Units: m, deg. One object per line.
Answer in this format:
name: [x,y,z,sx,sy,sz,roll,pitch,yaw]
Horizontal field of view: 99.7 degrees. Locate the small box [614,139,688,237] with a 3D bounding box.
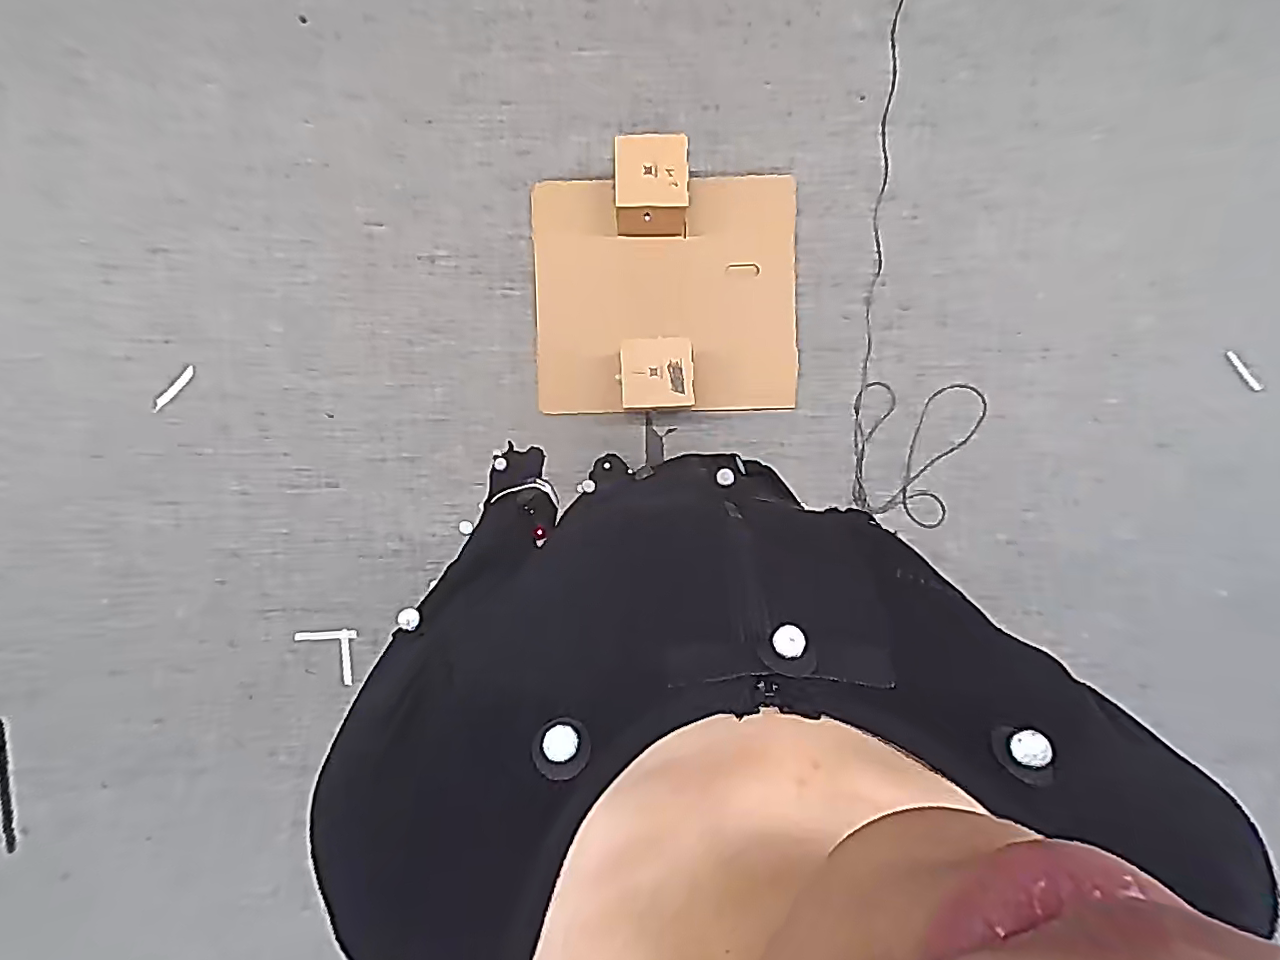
small box: [0.026,-0.722,1.353,0.179,0.176,0.168,0,93,-1]

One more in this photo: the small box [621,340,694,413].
small box: [0.041,-0.260,1.381,0.179,0.176,0.168,-2,94,0]
